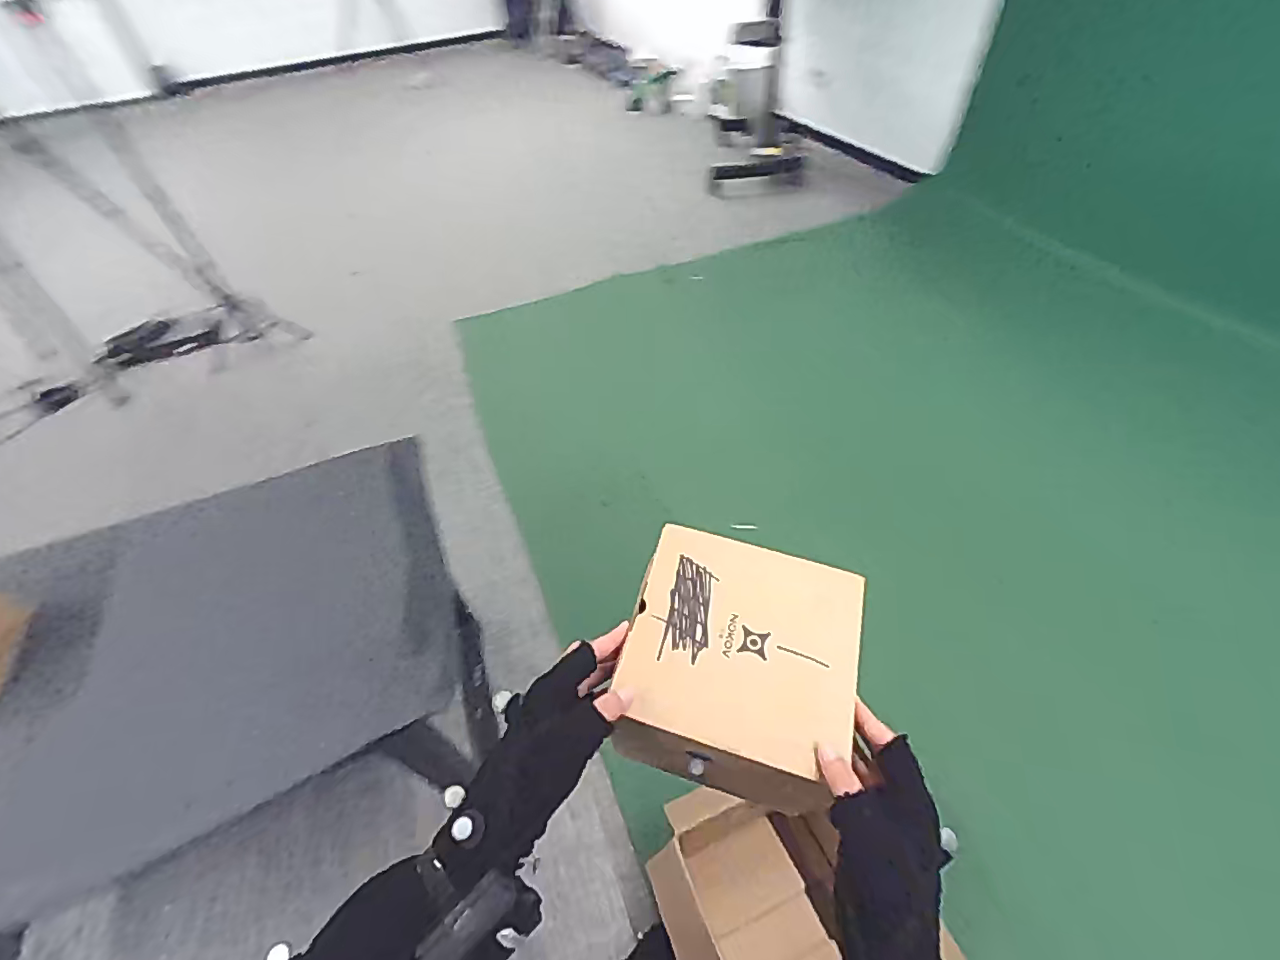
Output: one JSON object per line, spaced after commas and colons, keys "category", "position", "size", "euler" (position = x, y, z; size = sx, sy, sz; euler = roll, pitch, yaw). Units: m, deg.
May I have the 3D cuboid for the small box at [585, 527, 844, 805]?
{"category": "small box", "position": [0.065, 0.169, 0.480], "size": [0.179, 0.176, 0.168], "euler": [13, 55, 9]}

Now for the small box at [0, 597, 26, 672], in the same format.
{"category": "small box", "position": [-1.053, 0.240, 0.761], "size": [0.179, 0.176, 0.168], "euler": [-20, 49, -13]}
